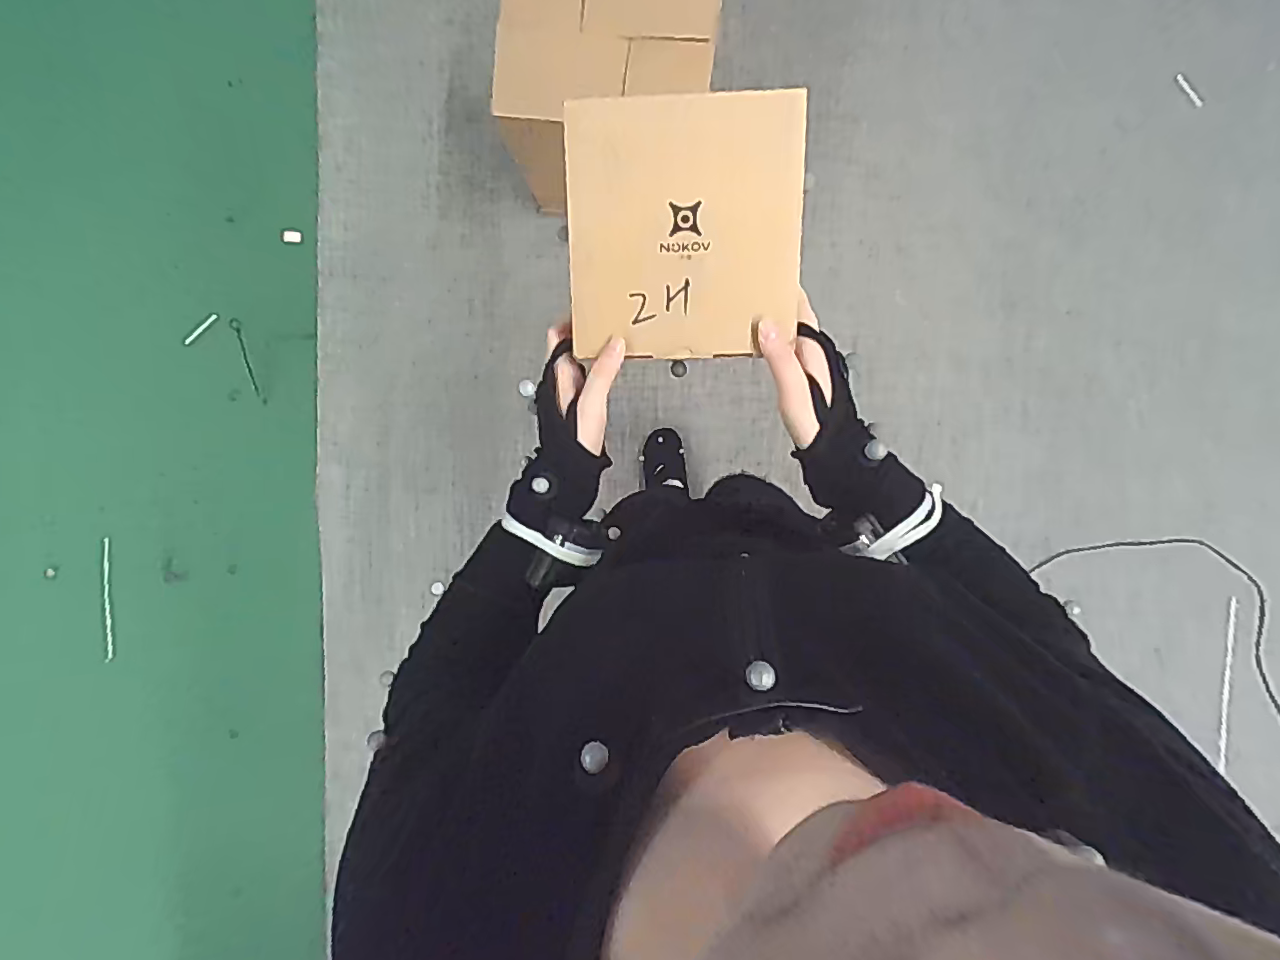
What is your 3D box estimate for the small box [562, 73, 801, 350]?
[{"bbox_3d":[0.031,-0.204,0.459,0.168,0.176,0.179,1,102,4],"label":"small box"}]
